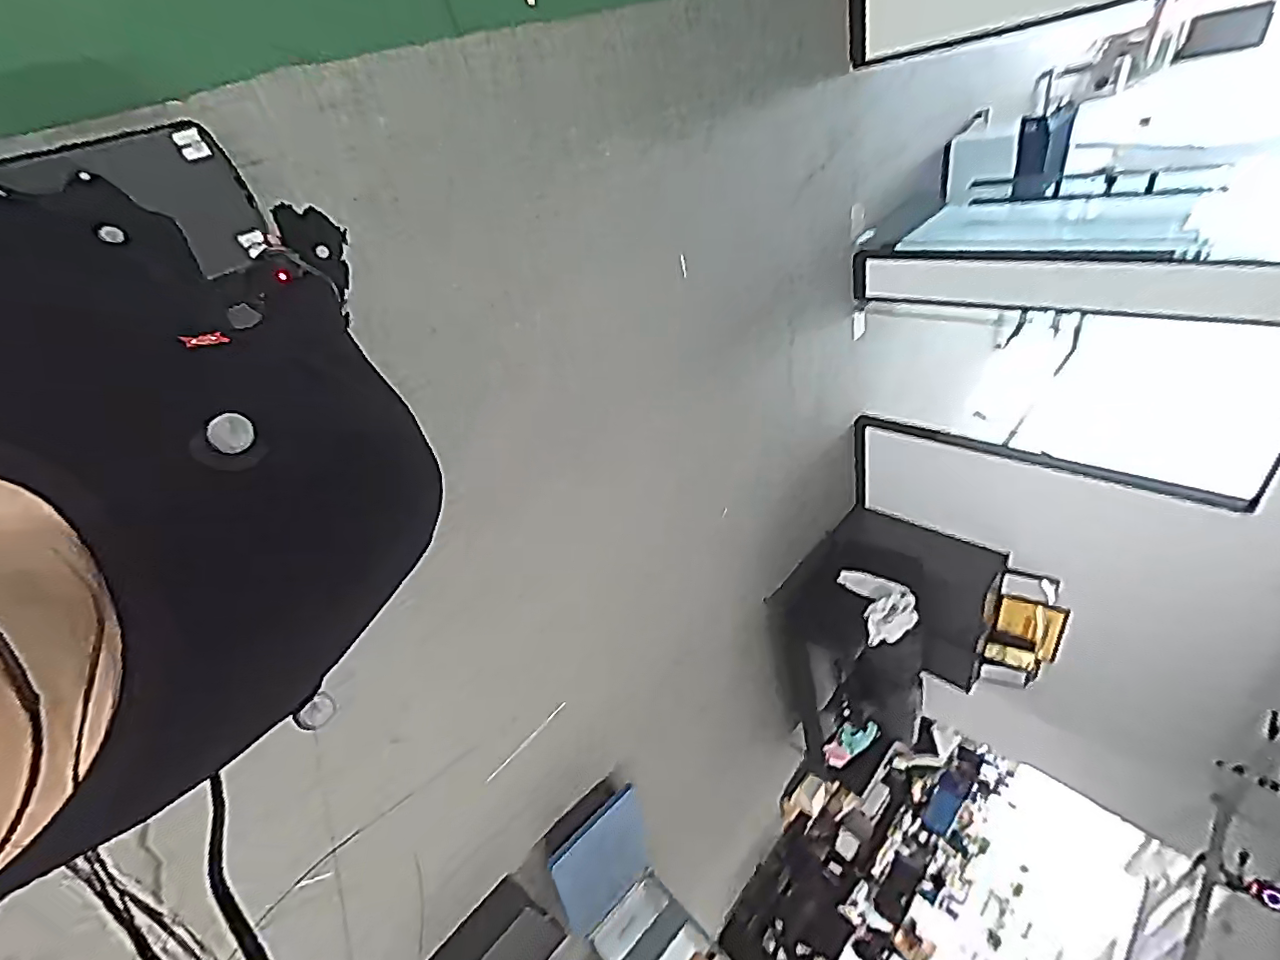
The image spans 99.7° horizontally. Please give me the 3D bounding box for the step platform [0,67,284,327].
[{"bbox_3d":[-1.001,-0.433,0.884,0.684,0.204,0.286,-38,132,-27],"label":"step platform"}]
